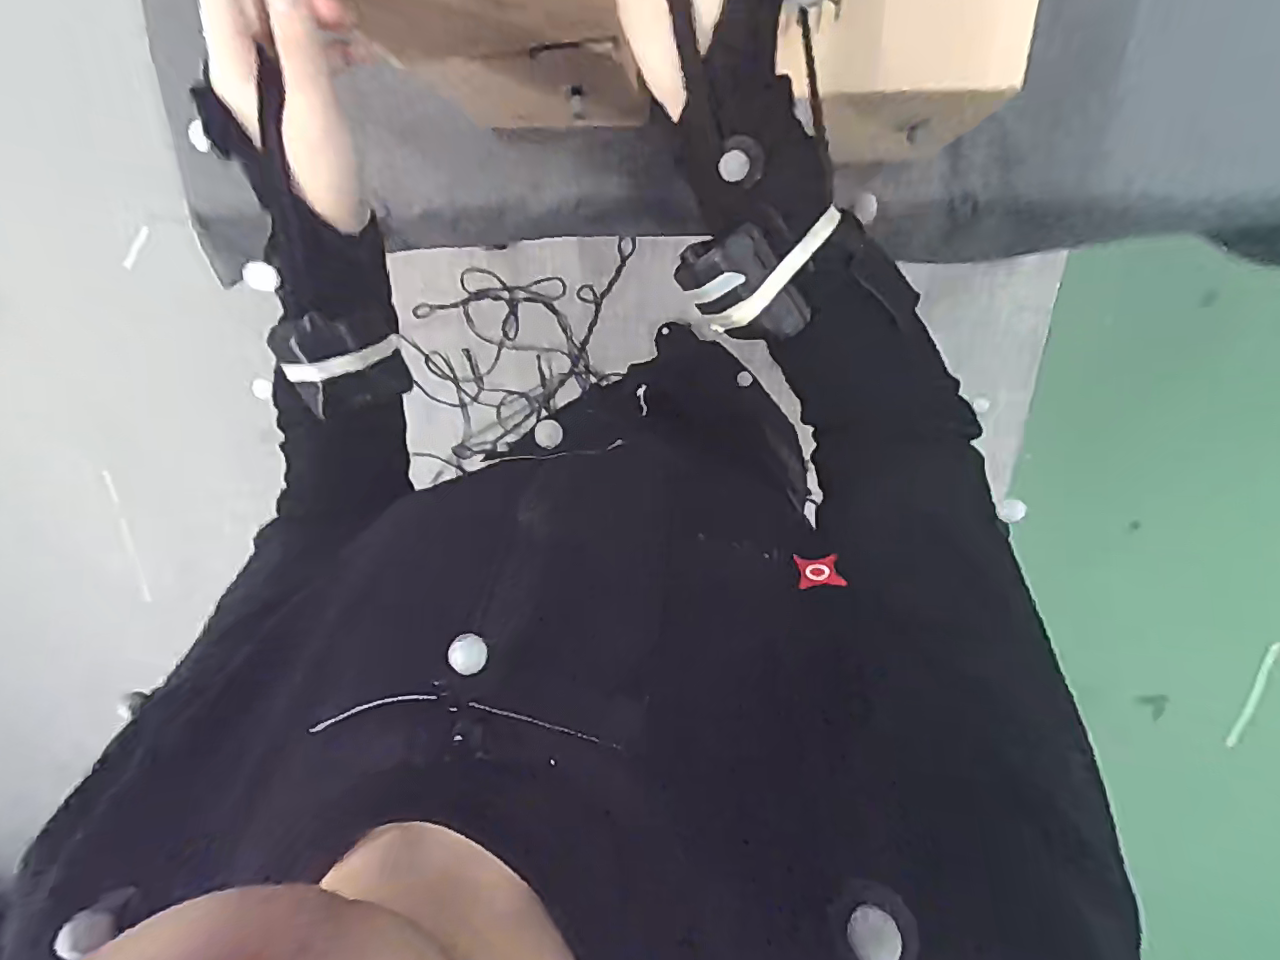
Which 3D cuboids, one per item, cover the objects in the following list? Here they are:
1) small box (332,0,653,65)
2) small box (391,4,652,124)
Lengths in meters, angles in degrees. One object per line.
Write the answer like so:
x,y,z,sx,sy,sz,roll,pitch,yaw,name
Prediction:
-0.089,-0.328,0.250,0.179,0.176,0.168,-5,109,7,small box
-0.080,-0.395,0.417,0.168,0.176,0.179,3,107,7,small box
